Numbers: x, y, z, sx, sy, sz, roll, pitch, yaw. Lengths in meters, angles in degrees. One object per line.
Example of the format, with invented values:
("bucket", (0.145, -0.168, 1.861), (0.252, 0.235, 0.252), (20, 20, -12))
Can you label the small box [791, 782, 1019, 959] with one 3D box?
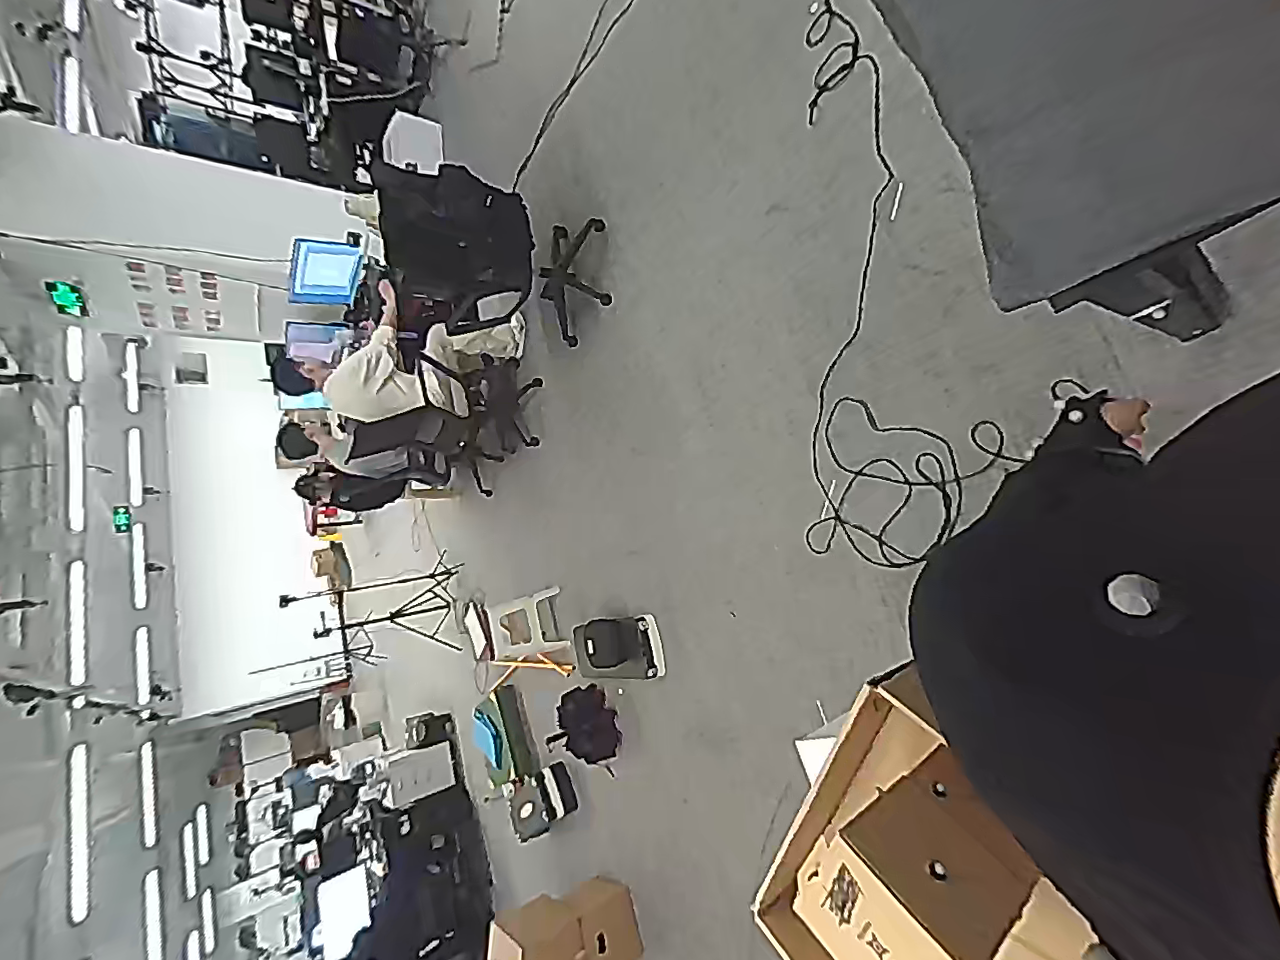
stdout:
("small box", (0.337, 0.529, 0.700), (0.179, 0.176, 0.168), (39, 125, 41))
